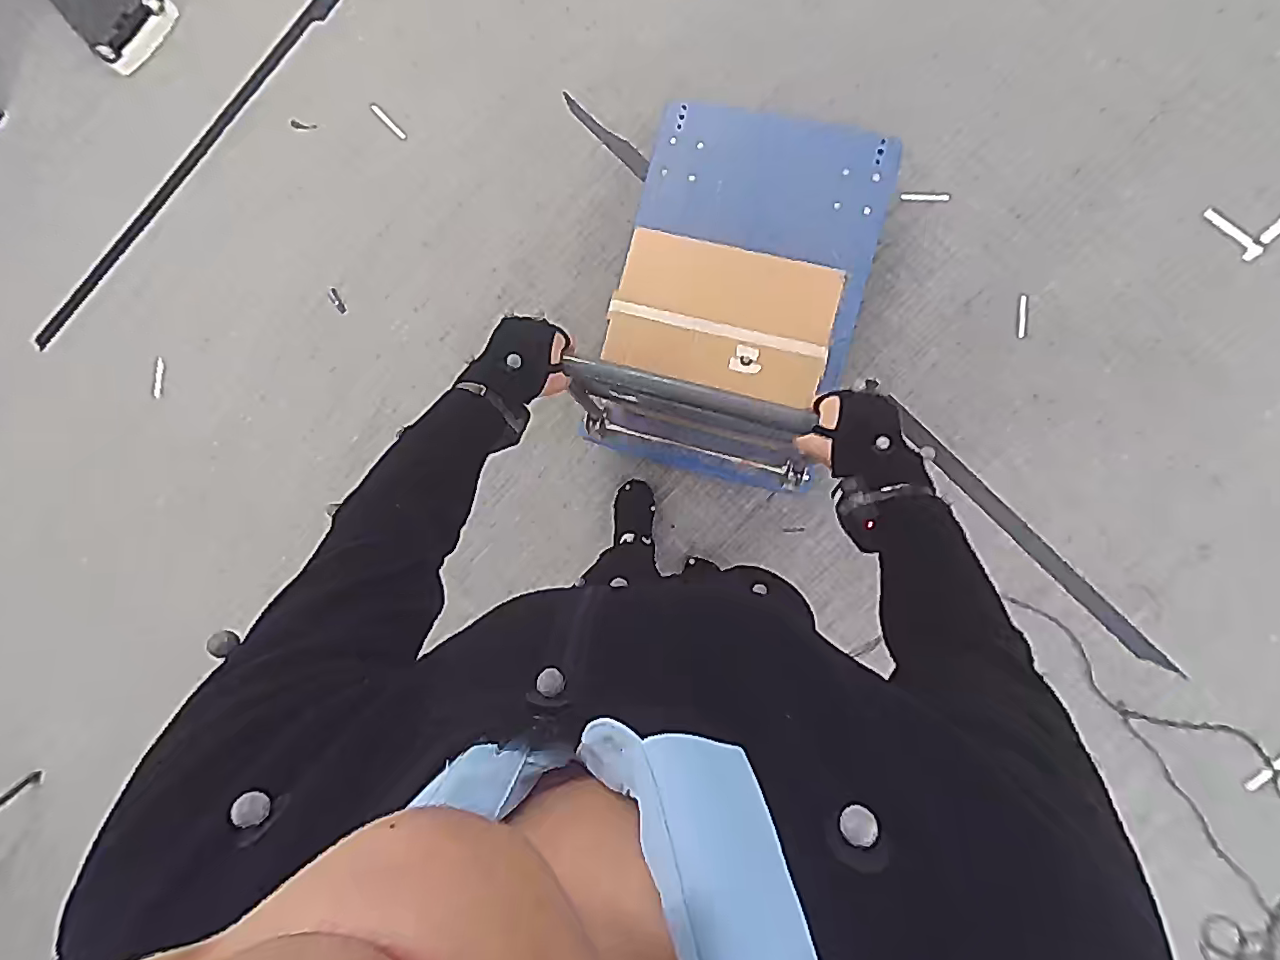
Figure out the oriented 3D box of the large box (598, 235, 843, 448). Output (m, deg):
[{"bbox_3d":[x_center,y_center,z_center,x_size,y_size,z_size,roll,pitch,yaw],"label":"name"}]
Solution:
[{"bbox_3d":[0.158,-0.272,1.157,0.408,0.320,0.320,15,91,6],"label":"large box"}]
